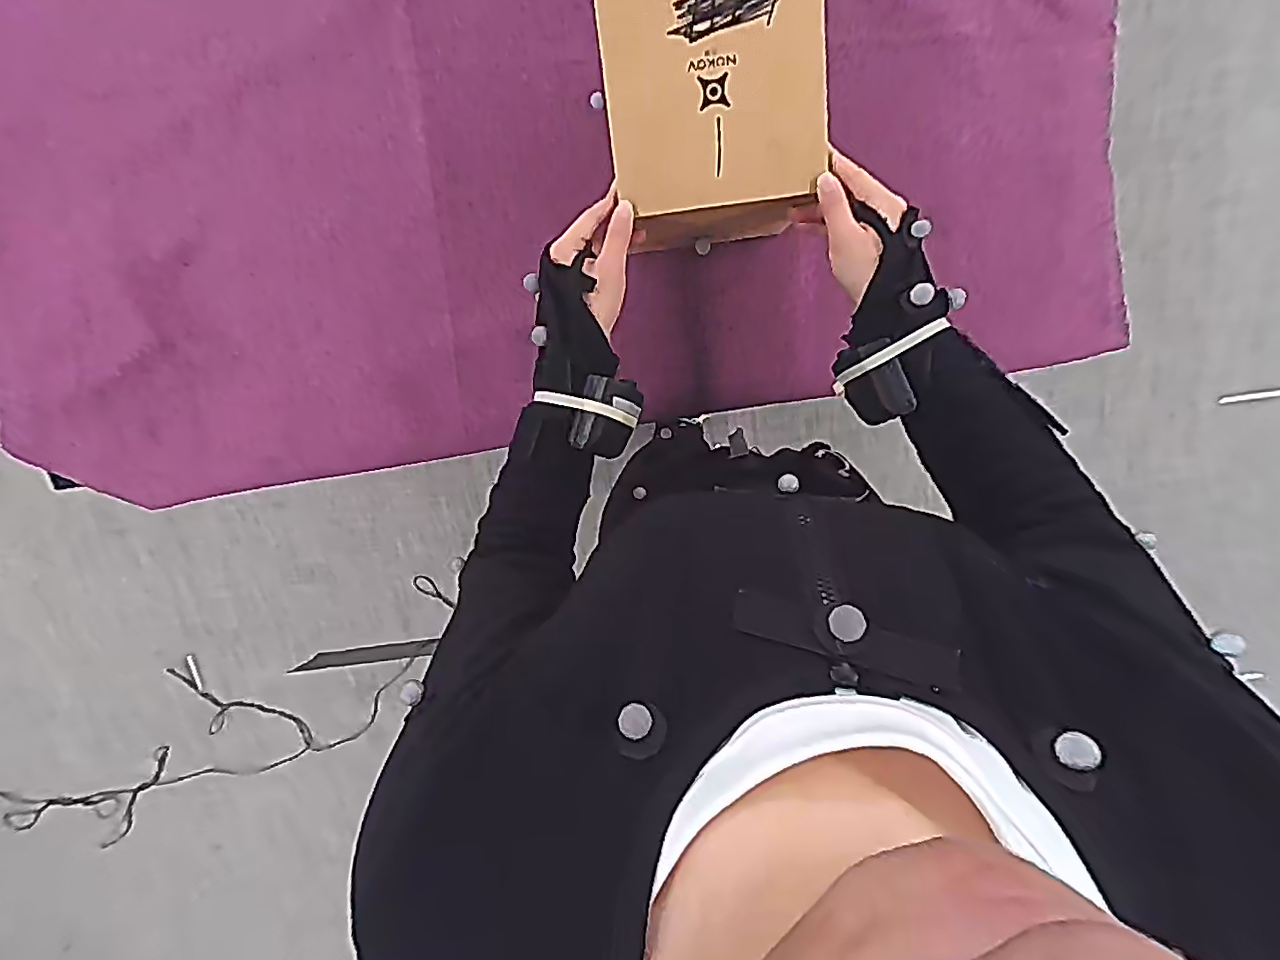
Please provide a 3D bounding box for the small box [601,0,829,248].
[{"bbox_3d":[0.057,-0.321,0.480,0.168,0.176,0.179,-6,104,2],"label":"small box"}]
